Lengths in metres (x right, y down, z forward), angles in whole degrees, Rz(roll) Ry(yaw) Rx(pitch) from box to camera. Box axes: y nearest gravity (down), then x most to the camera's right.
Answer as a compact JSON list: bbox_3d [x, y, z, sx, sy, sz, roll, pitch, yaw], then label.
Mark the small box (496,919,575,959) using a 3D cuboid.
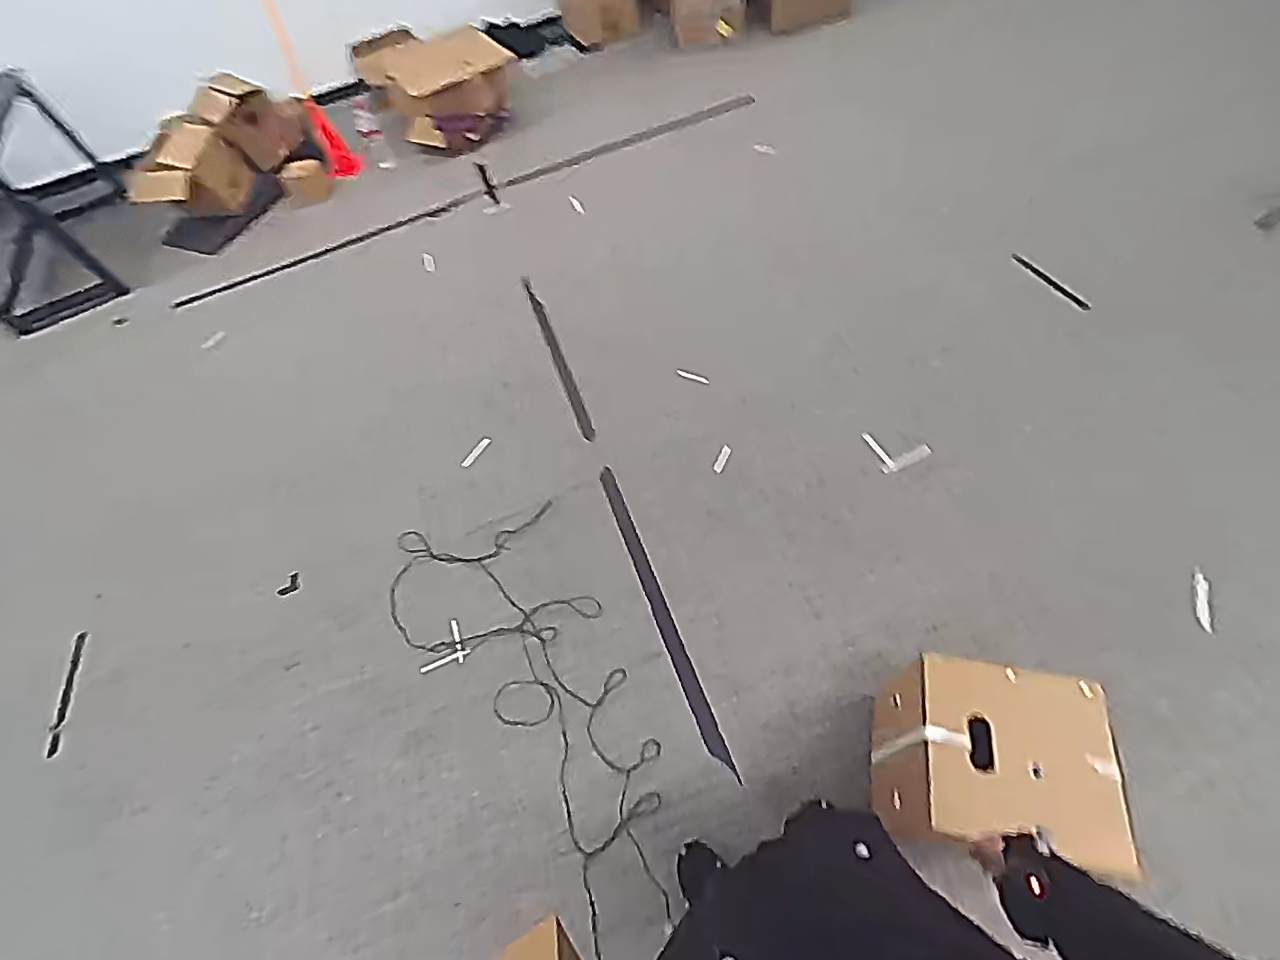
[{"bbox_3d":[-0.134,0.726,0.673,0.168,0.179,0.176,-28,90,-14],"label":"small box"}]
